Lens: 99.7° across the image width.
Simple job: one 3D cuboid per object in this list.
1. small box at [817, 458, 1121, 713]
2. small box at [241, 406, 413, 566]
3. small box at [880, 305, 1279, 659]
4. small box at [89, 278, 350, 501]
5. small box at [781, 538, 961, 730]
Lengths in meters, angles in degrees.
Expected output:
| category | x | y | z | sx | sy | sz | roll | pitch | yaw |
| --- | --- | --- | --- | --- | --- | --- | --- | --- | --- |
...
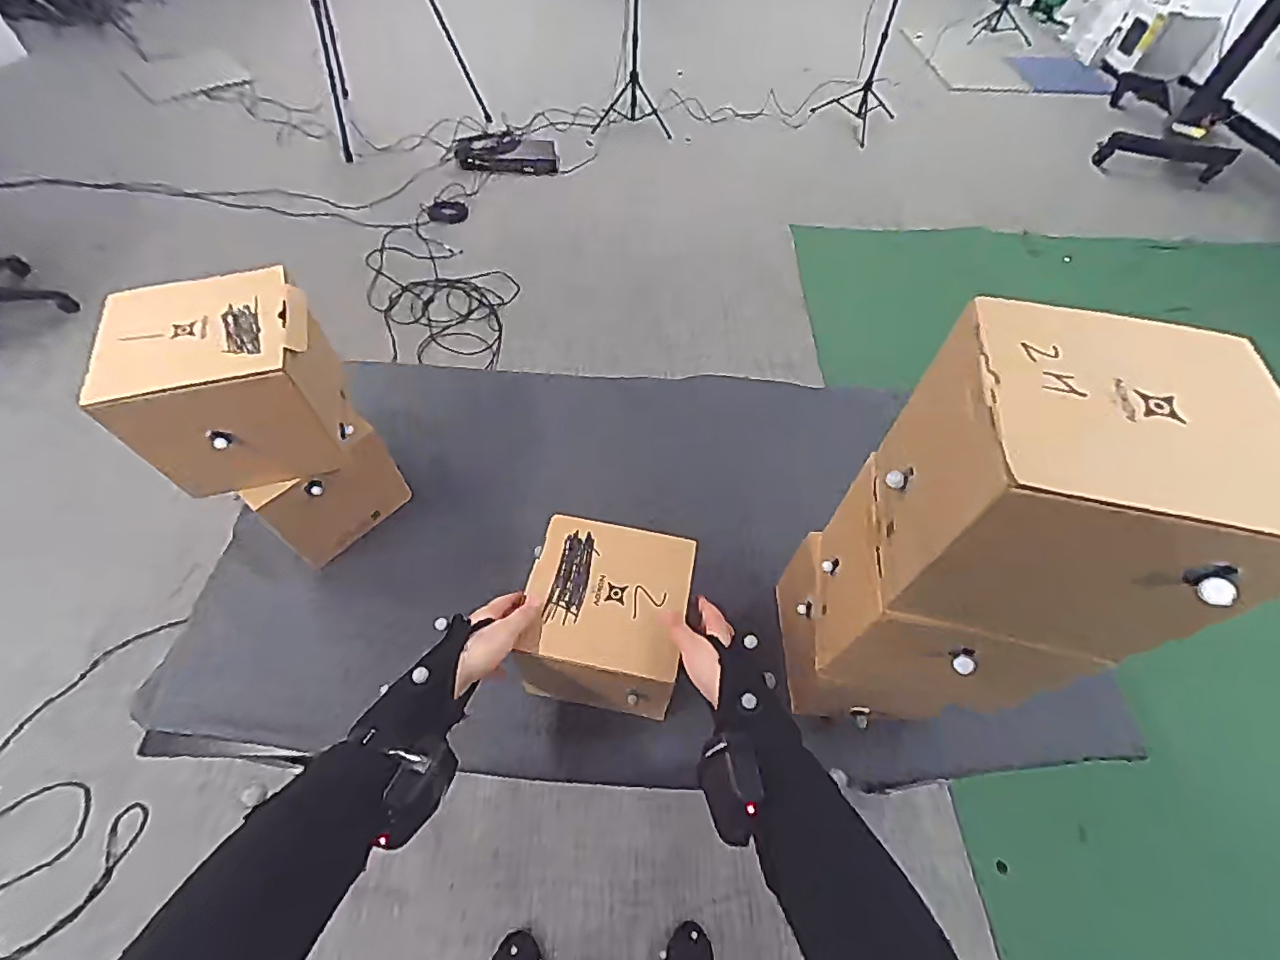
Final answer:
| category | x | y | z | sx | sy | sz | roll | pitch | yaw |
| --- | --- | --- | --- | --- | --- | --- | --- | --- | --- |
| small box | 0.281 | 0.106 | 0.511 | 0.179 | 0.176 | 0.168 | 10 | 55 | 6 |
| small box | -0.457 | -0.010 | 0.758 | 0.179 | 0.176 | 0.168 | 36 | 62 | 20 |
| small box | 0.289 | 0.009 | 0.378 | 0.179 | 0.176 | 0.168 | 11 | 54 | 8 |
| small box | -0.451 | -0.100 | 0.620 | 0.179 | 0.176 | 0.168 | -14 | 58 | -11 |
| small box | 0.277 | 0.188 | 0.652 | 0.168 | 0.176 | 0.179 | 2 | 55 | 0 |
